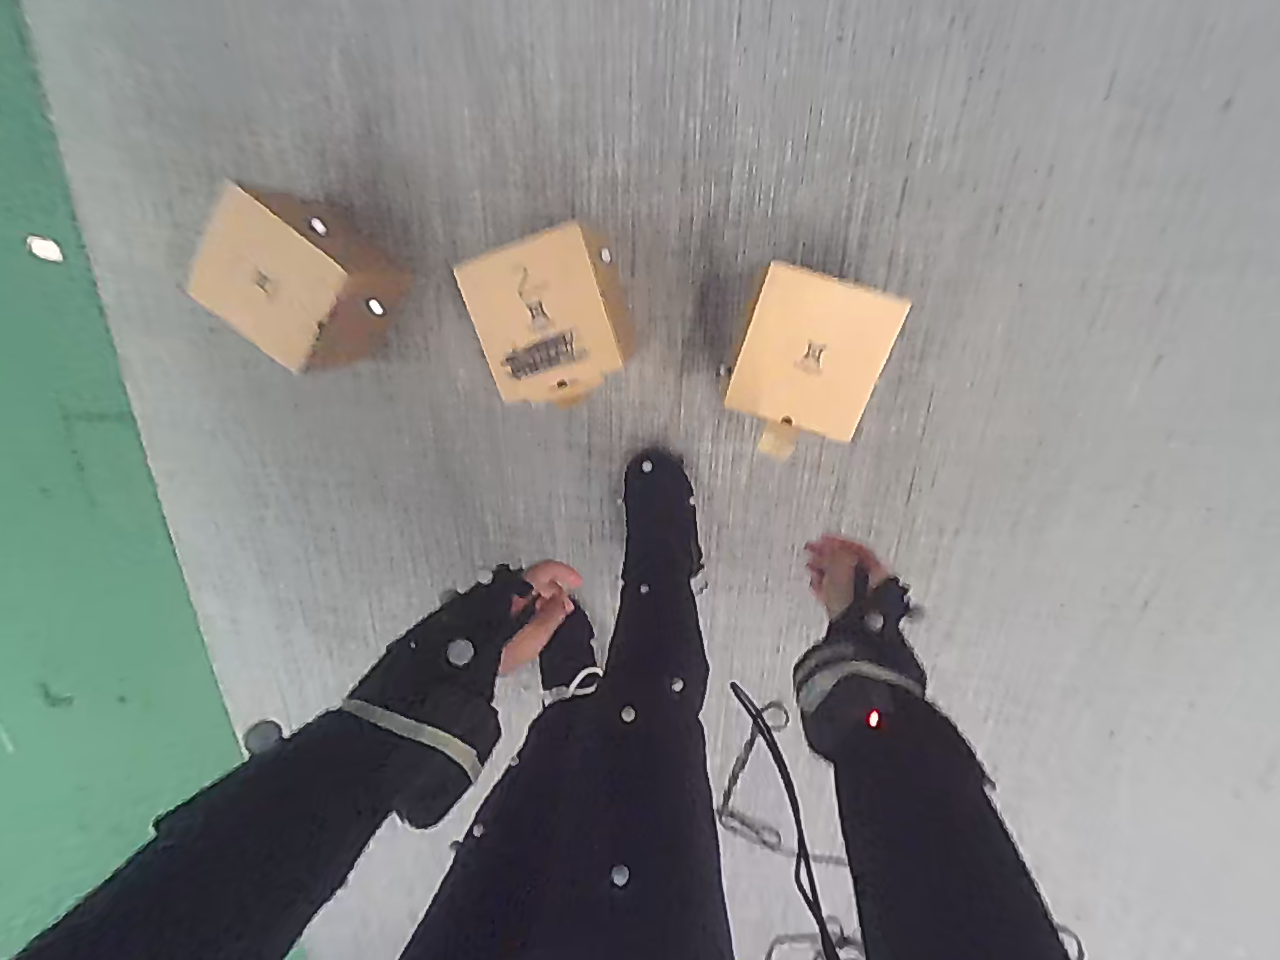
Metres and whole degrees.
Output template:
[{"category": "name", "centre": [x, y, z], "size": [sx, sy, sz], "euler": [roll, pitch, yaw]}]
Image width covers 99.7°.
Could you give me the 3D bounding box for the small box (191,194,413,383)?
[{"category": "small box", "centre": [-0.461, -0.266, 0.763], "size": [0.179, 0.176, 0.168], "euler": [38, 109, -6]}]

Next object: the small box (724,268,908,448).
[{"category": "small box", "centre": [0.211, -0.167, 0.711], "size": [0.168, 0.176, 0.179], "euler": [16, 112, 1]}]
